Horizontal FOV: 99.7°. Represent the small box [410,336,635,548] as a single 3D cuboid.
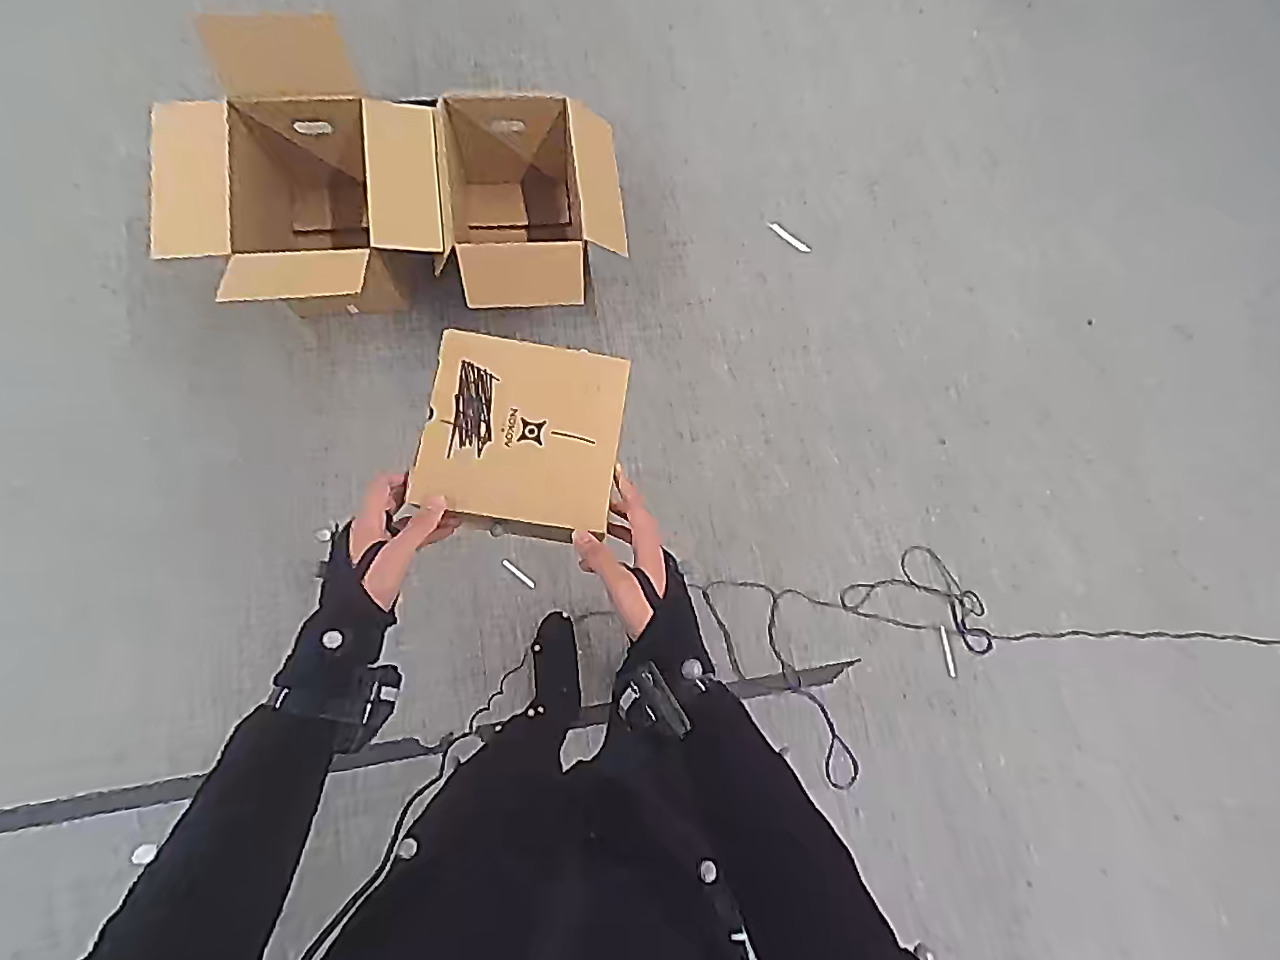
[{"bbox_3d":[-0.108,-0.025,0.561,0.179,0.176,0.168,9,78,-4],"label":"small box"}]
